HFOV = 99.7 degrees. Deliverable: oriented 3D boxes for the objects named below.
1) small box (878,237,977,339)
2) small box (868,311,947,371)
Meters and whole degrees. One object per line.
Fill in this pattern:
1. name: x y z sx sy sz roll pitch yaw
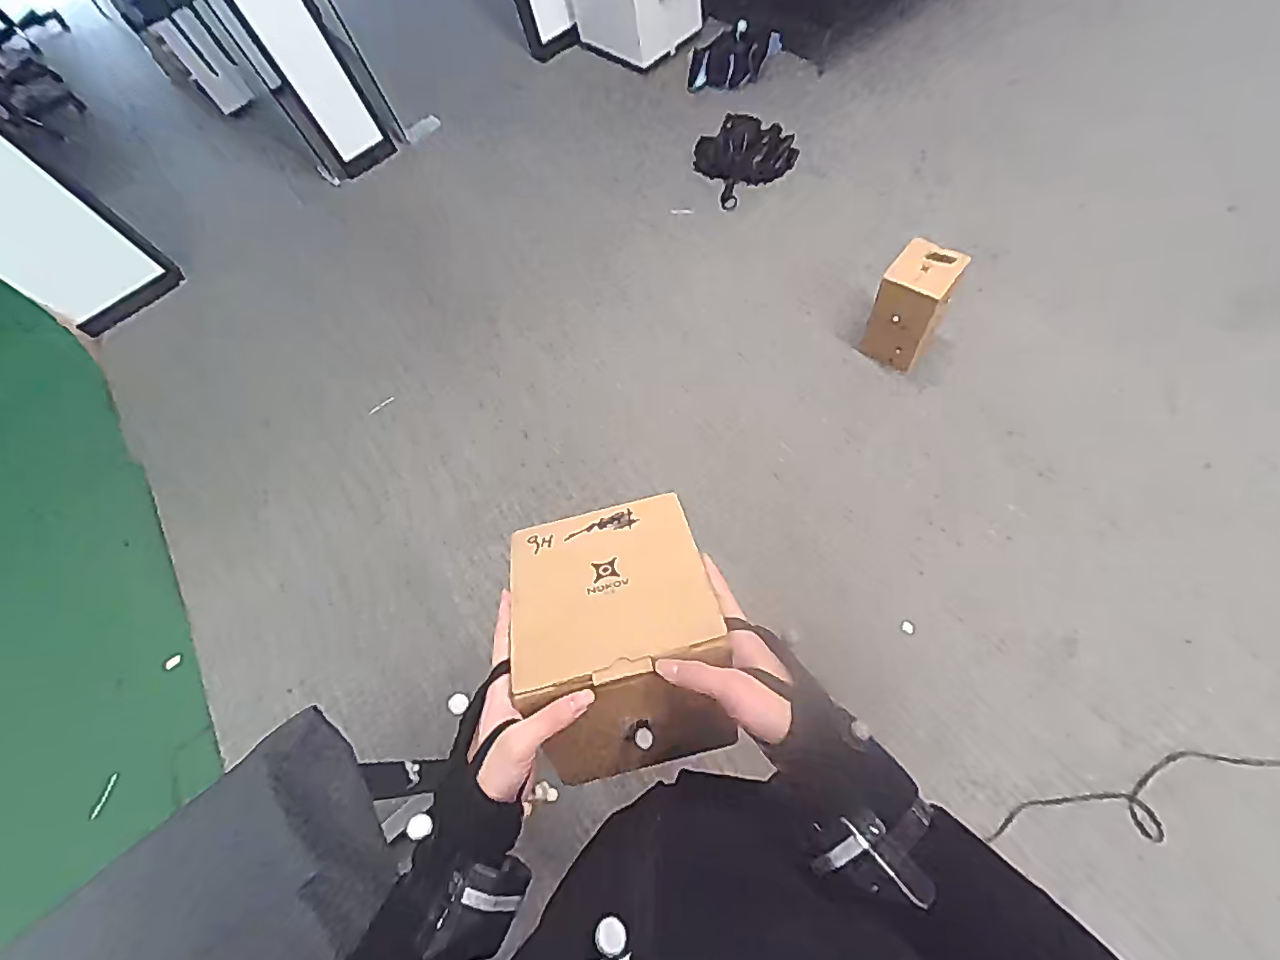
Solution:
1. small box: 0.796 -0.536 1.519 0.168 0.176 0.179 35 77 24
2. small box: 0.825 -0.470 1.667 0.168 0.176 0.179 34 74 24
